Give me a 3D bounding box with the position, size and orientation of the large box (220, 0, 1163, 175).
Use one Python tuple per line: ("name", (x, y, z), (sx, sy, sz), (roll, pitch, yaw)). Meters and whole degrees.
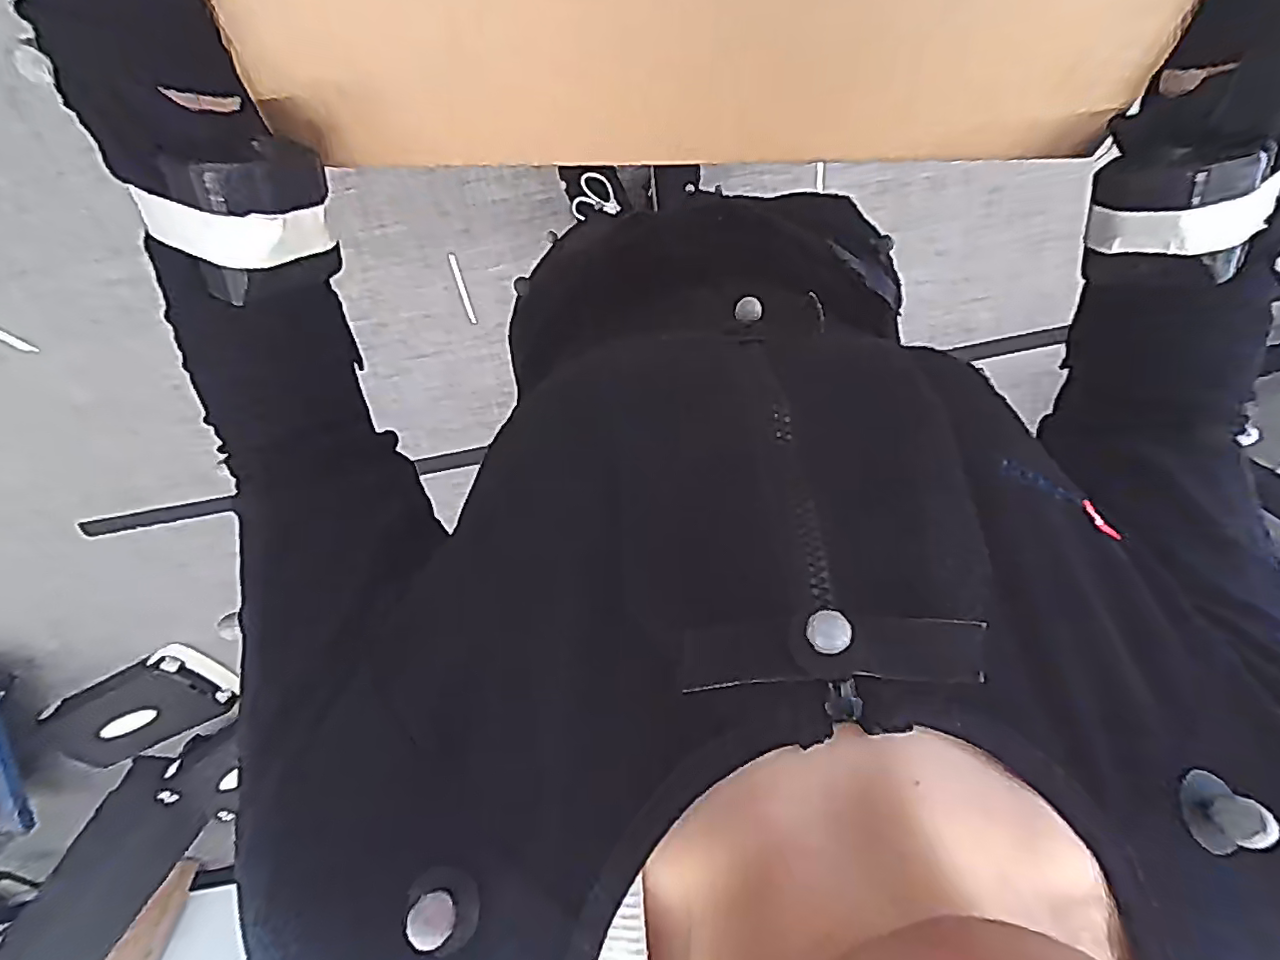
("large box", (0.024, -0.371, 0.222), (0.408, 0.320, 0.320), (-2, 150, -3))
